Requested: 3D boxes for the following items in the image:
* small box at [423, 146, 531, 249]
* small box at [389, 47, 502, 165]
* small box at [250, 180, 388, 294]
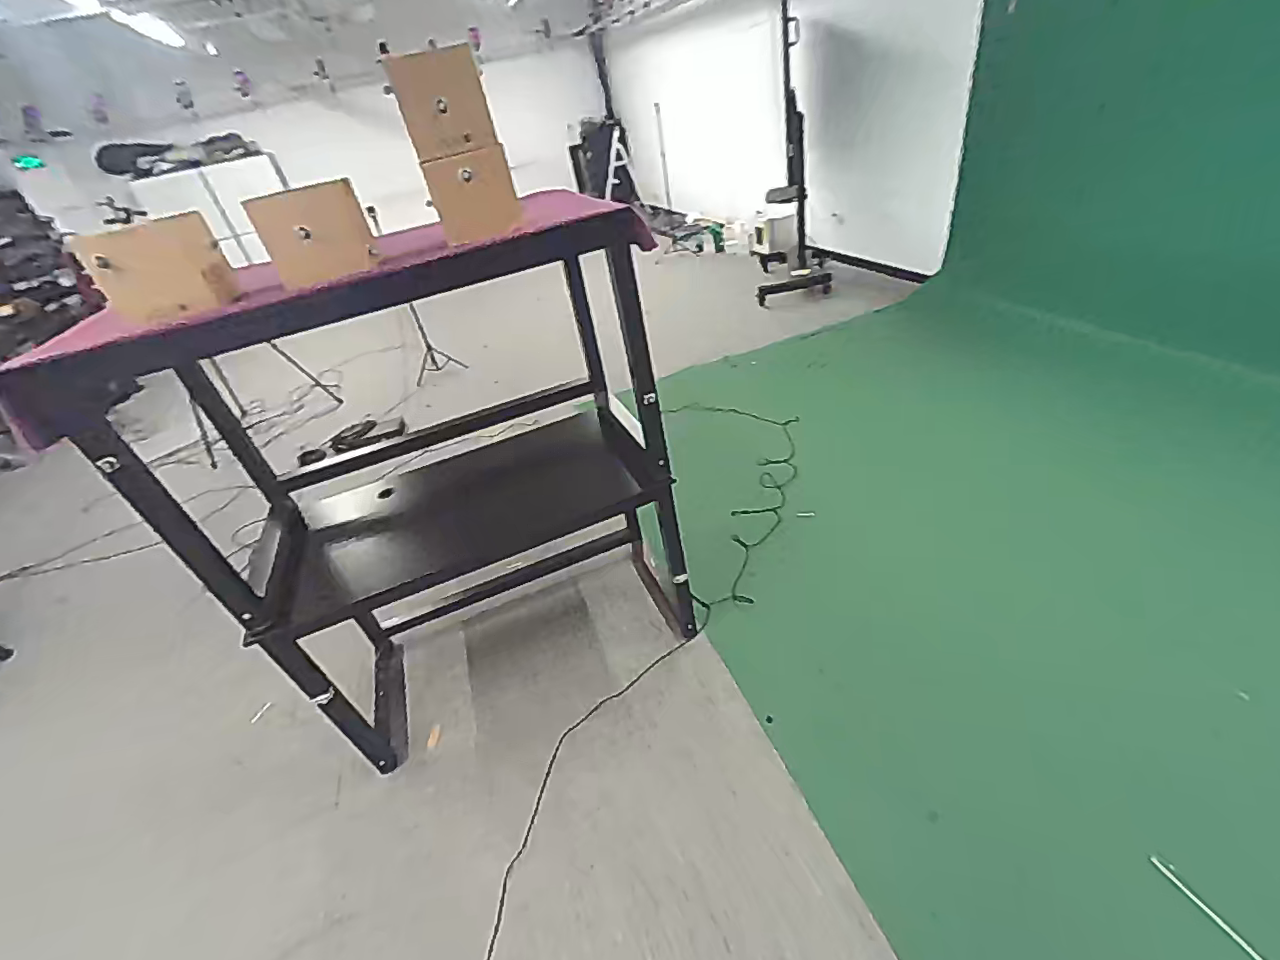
[{"bbox_3d":[-0.360,-0.627,1.203,0.179,0.176,0.168,-19,35,-8],"label":"small box"},{"bbox_3d":[-0.395,-0.762,1.116,0.168,0.176,0.179,-19,35,-8],"label":"small box"},{"bbox_3d":[-0.654,-0.510,1.131,0.179,0.176,0.168,-19,34,-6],"label":"small box"}]
